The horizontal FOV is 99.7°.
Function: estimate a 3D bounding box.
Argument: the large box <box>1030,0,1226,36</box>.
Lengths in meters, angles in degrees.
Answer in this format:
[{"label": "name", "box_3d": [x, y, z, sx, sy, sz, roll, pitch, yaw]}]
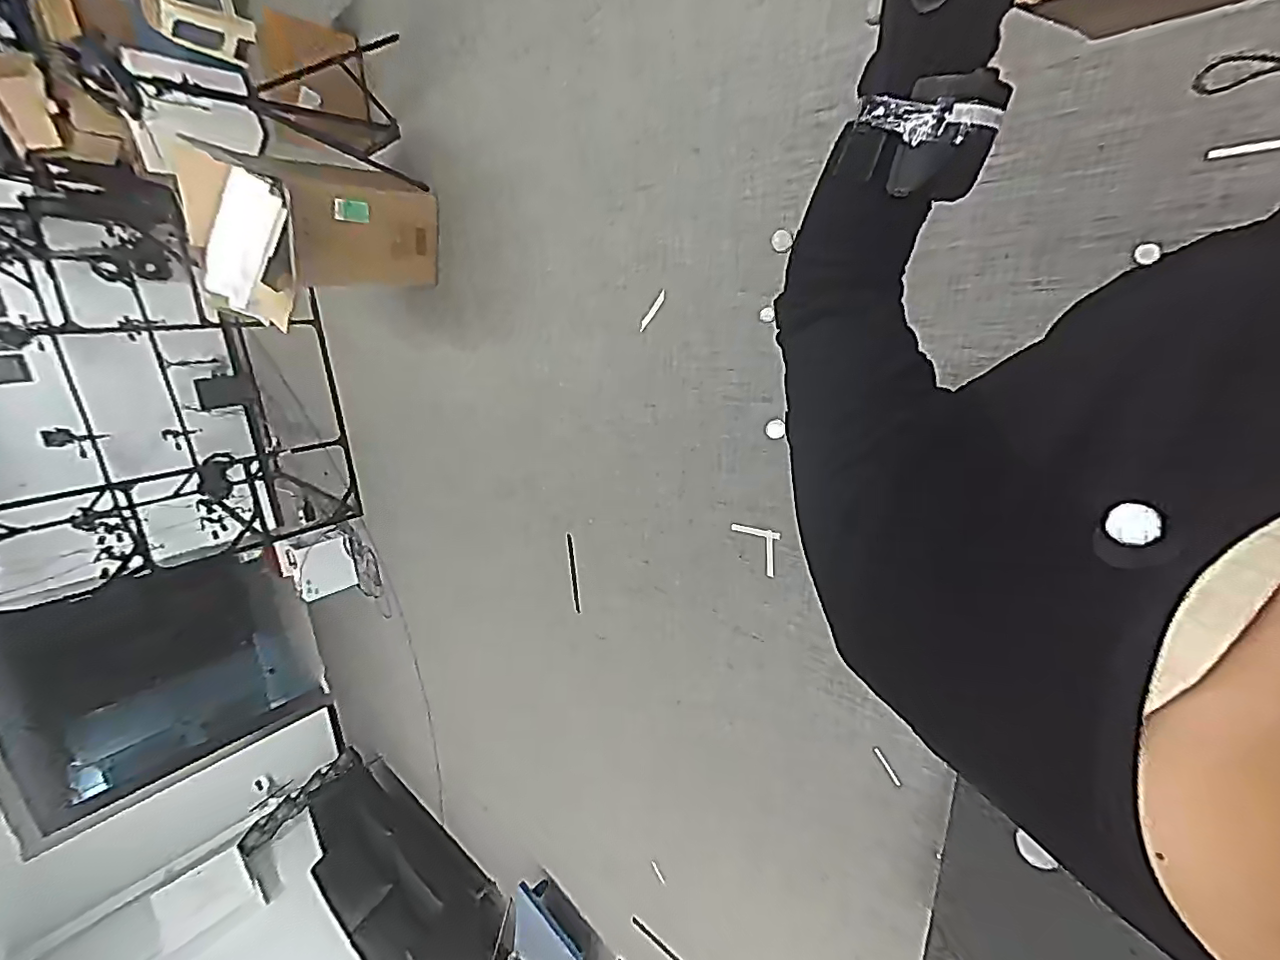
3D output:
[{"label": "large box", "box_3d": [0.418, -0.430, 0.196, 0.408, 0.320, 0.320, 13, 126, 41]}]
